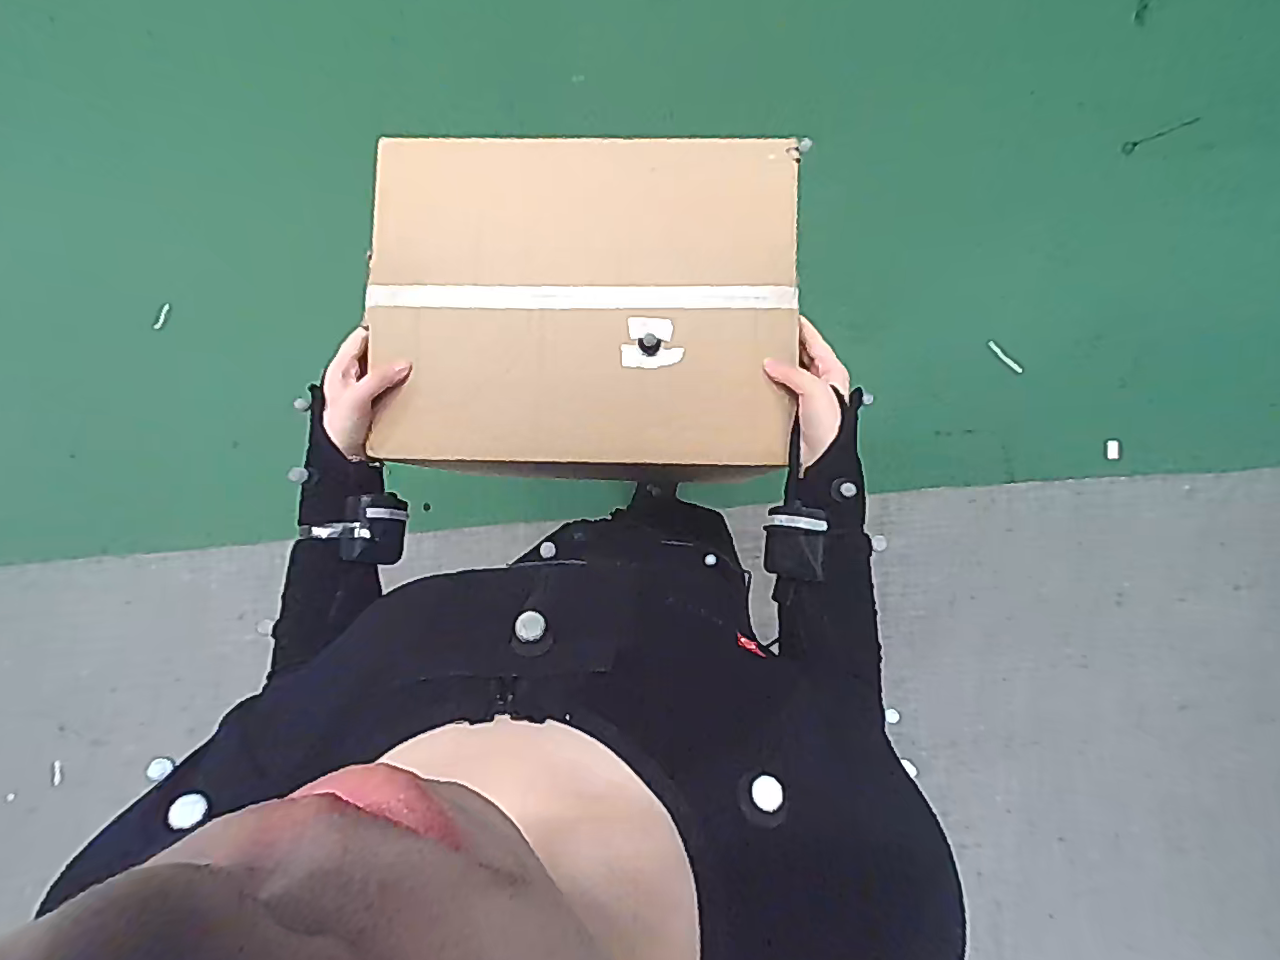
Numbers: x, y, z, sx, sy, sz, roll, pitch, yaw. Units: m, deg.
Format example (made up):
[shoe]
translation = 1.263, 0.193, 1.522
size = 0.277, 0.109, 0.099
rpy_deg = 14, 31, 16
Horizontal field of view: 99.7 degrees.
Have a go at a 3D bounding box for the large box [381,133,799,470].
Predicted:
[large box]
translation = -0.048, -0.177, 0.667
size = 0.408, 0.320, 0.320
rpy_deg = 1, 88, 0
